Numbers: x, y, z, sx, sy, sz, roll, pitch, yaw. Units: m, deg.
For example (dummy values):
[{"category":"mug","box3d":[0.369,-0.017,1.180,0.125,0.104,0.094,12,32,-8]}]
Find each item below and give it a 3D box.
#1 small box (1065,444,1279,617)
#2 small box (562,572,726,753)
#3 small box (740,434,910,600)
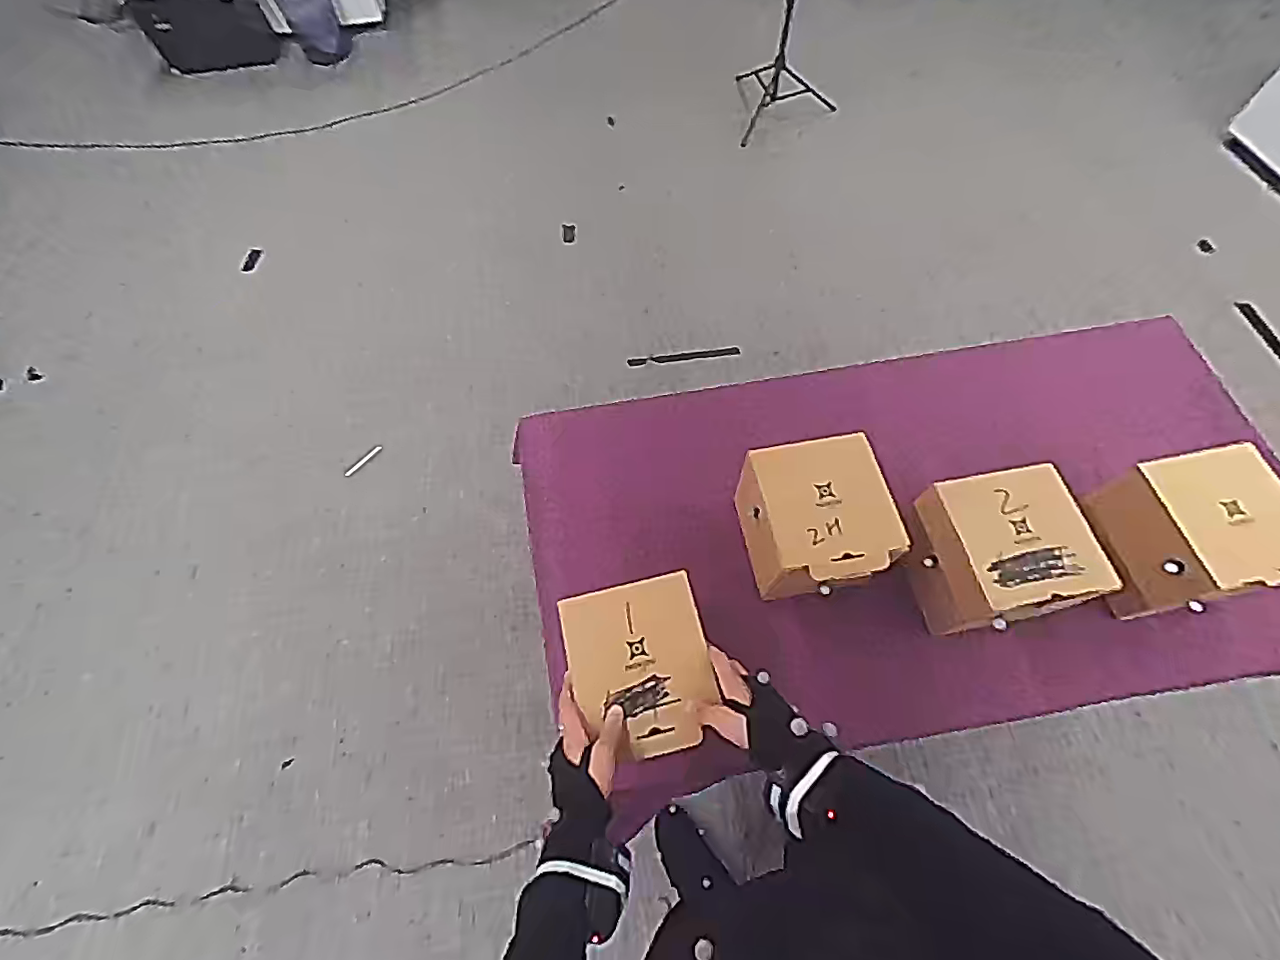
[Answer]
[{"category":"small box","box3d":[0.757,0.076,0.755,0.168,0.176,0.179,-11,64,-3]},{"category":"small box","box3d":[0.004,0.242,0.706,0.168,0.176,0.179,-13,64,-4]},{"category":"small box","box3d":[0.249,0.059,0.783,0.168,0.176,0.179,-10,64,-1]}]
